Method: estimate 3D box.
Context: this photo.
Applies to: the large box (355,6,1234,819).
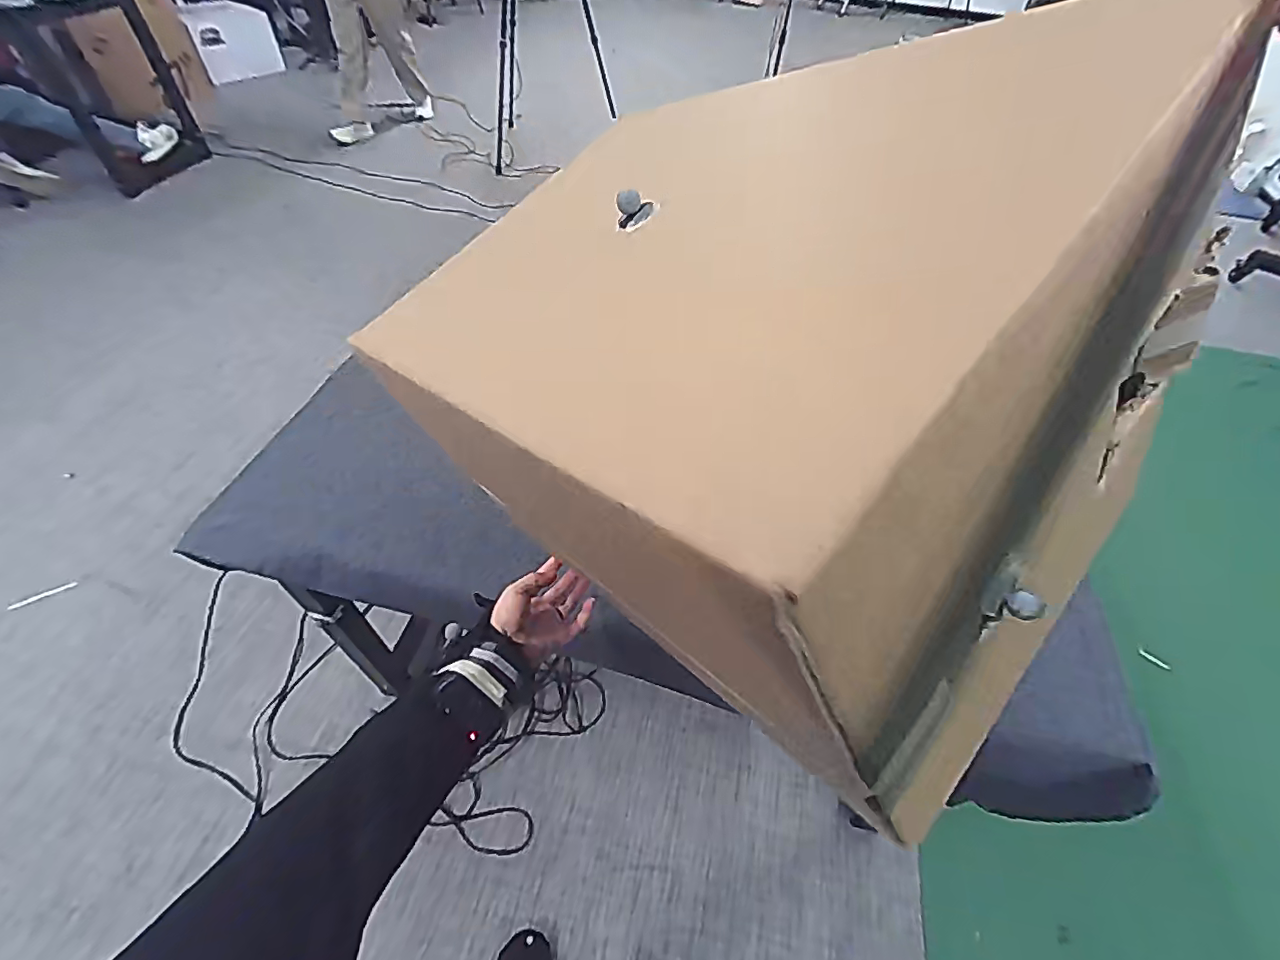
[{"bbox_3d":[0.069,-0.045,0.403,0.408,0.320,0.320,26,67,44],"label":"large box"}]
